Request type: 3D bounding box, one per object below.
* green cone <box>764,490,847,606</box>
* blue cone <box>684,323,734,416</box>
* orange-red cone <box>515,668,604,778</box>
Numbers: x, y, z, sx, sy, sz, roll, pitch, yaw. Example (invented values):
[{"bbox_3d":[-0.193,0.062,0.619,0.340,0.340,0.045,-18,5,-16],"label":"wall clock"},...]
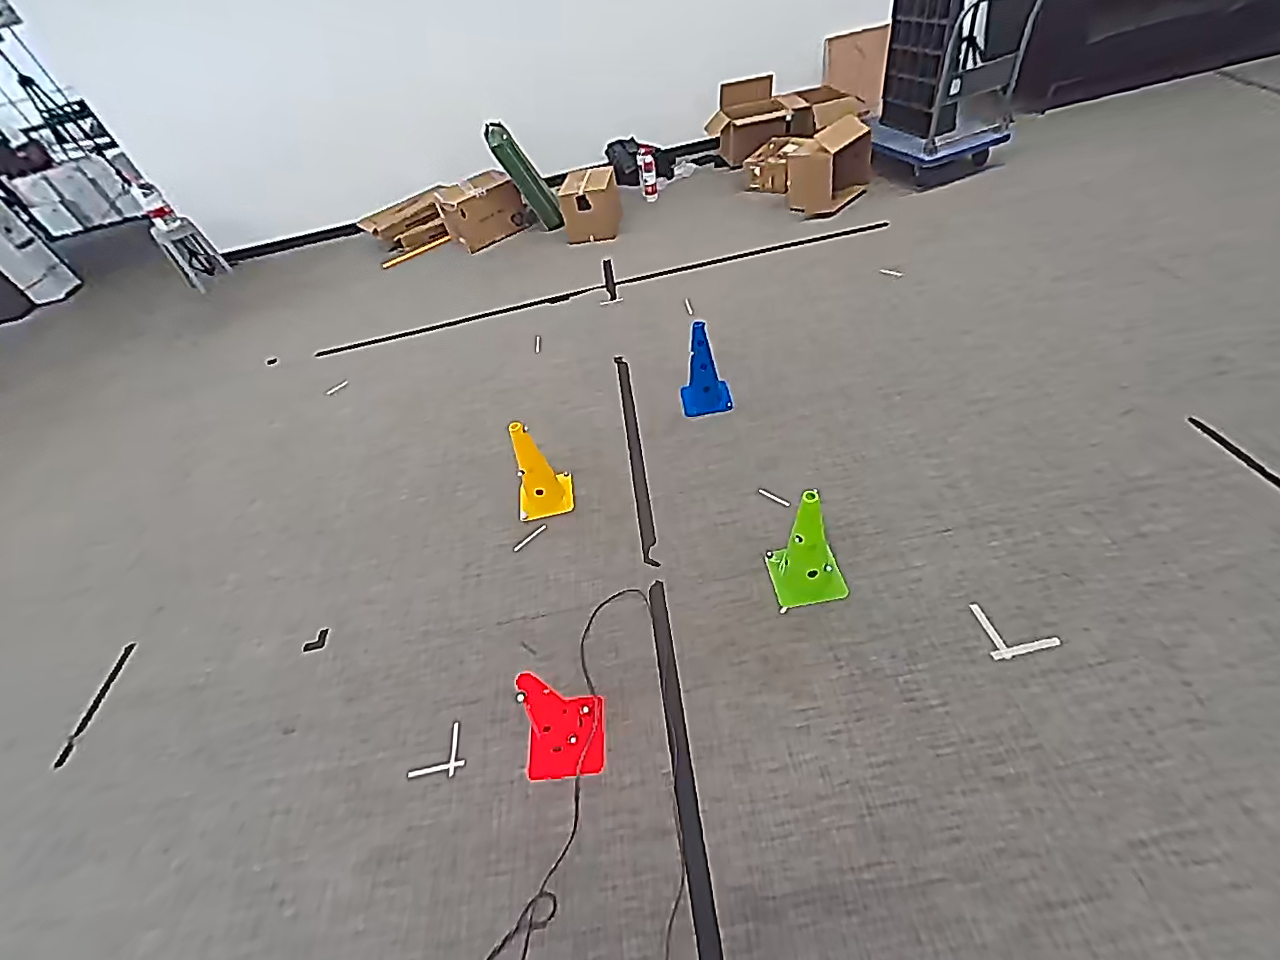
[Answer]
[{"bbox_3d":[0.464,0.165,1.493,0.202,0.368,0.200,-10,46,2],"label":"green cone"},{"bbox_3d":[0.260,-0.448,2.148,0.192,0.380,0.193,-8,46,5],"label":"blue cone"},{"bbox_3d":[-0.226,0.549,1.294,0.199,0.360,0.198,-9,44,7],"label":"orange-red cone"}]
